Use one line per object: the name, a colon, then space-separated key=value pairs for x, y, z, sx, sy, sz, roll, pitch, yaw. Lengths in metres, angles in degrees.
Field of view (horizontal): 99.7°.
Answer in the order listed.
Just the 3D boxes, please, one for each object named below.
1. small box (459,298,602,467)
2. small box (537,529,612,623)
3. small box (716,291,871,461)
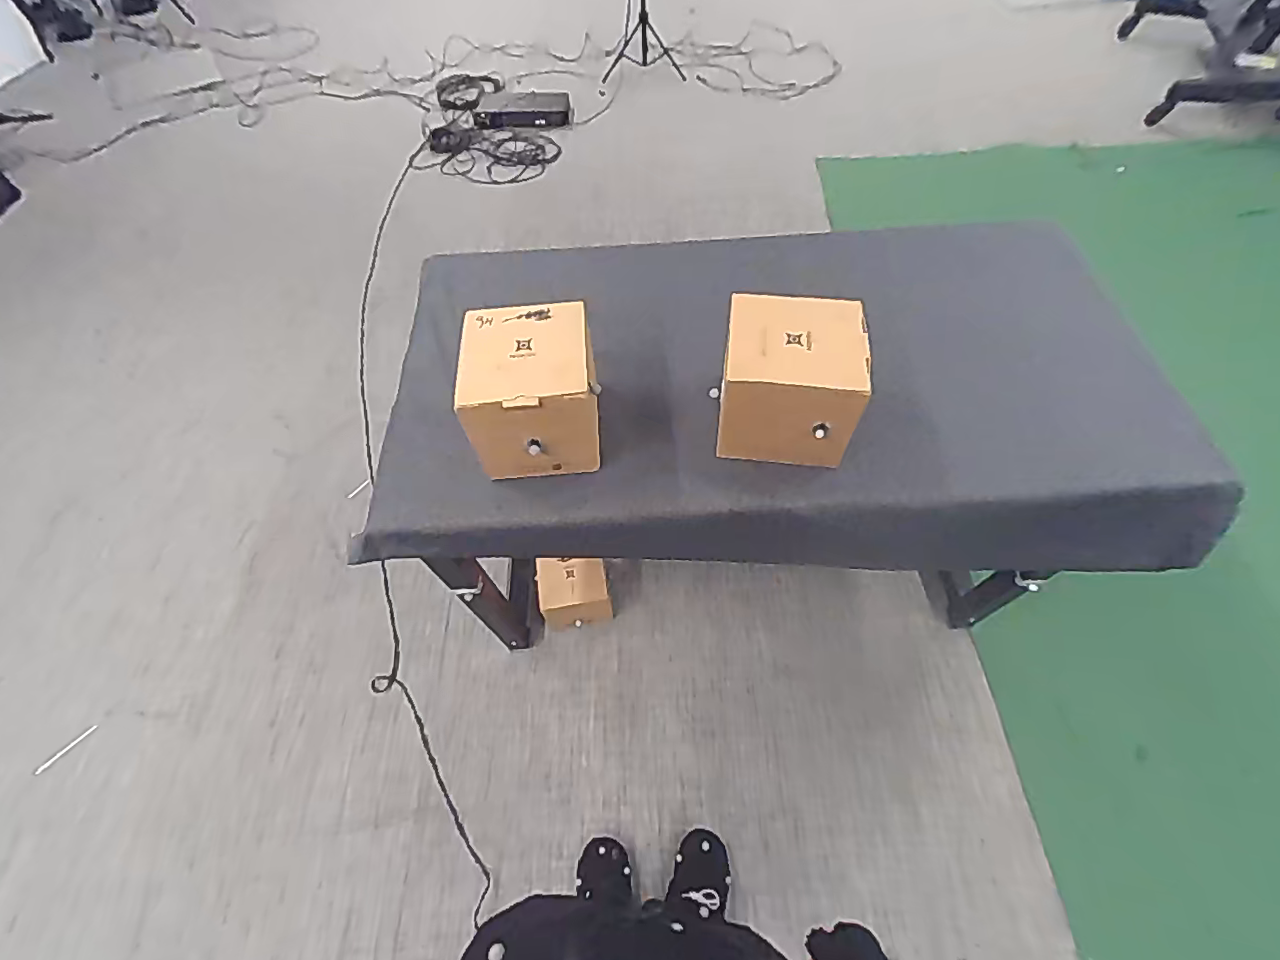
small box: x=-0.145 y=-0.130 z=0.771 sx=0.168 sy=0.176 sz=0.179 roll=-5 pitch=58 yaw=-2
small box: x=-0.166 y=0.250 z=1.396 sx=0.168 sy=0.176 sz=0.179 roll=-9 pitch=60 yaw=-3
small box: x=0.207 y=-0.142 z=0.768 sx=0.179 sy=0.176 sz=0.168 roll=5 pitch=58 yaw=6
